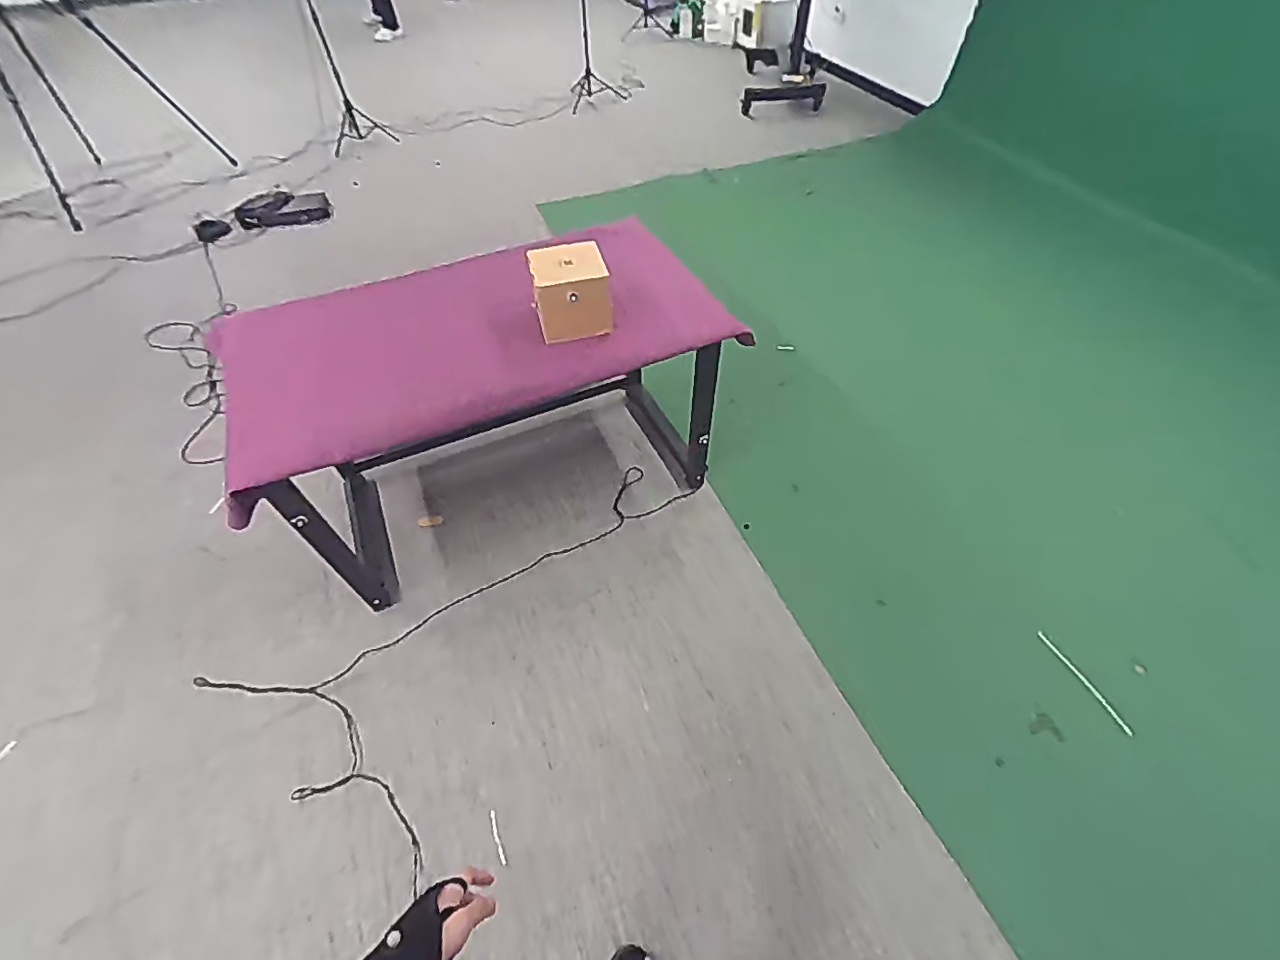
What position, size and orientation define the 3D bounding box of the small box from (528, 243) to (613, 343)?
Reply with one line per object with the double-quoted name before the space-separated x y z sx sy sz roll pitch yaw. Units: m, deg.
"small box" -0.172 -0.463 1.352 0.179 0.176 0.168 -11 53 -9
